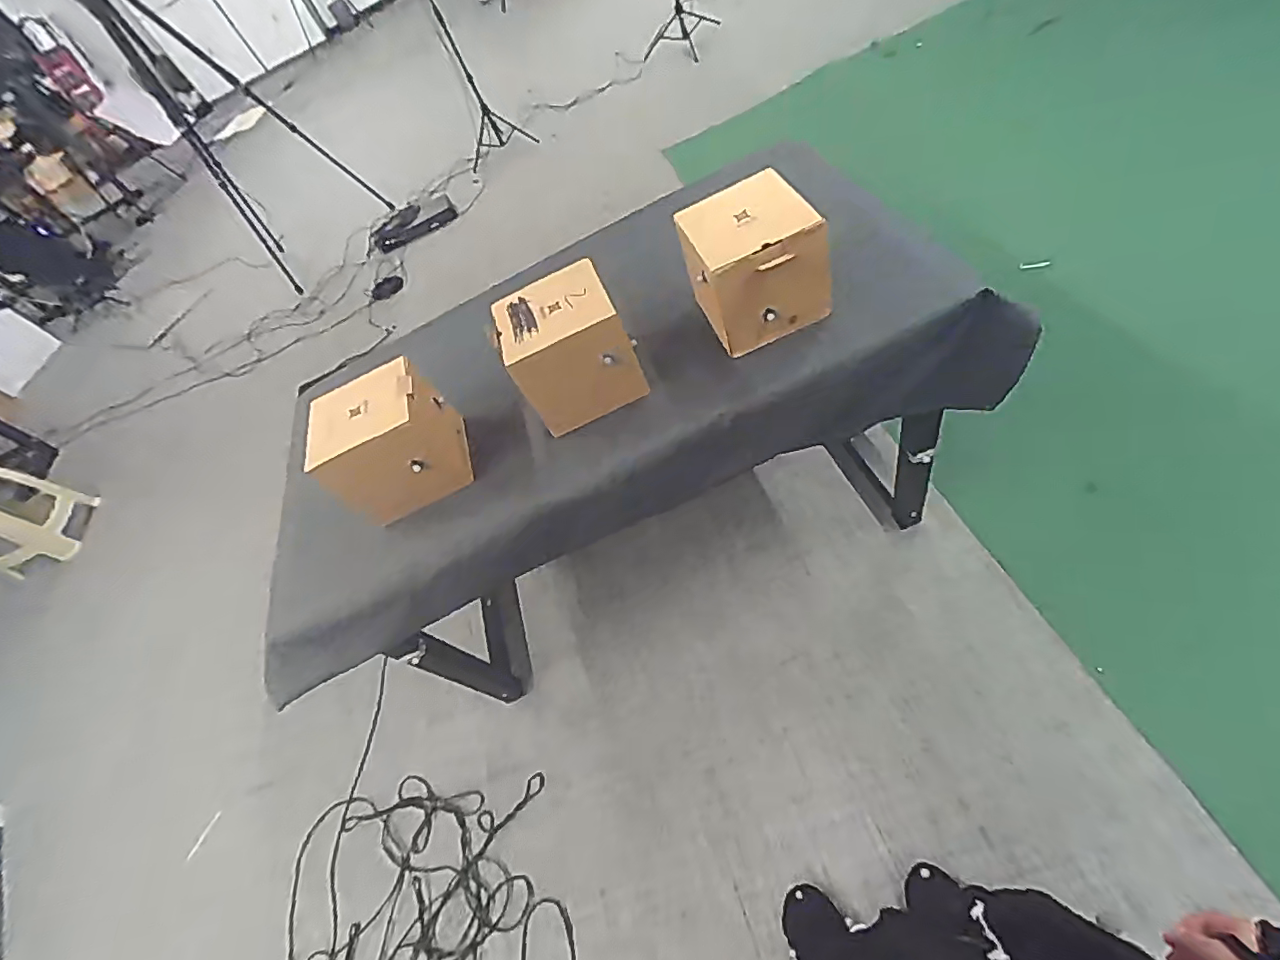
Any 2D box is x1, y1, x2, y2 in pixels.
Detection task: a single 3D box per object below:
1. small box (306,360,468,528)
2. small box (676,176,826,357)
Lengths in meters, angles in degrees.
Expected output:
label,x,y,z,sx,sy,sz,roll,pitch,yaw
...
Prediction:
label,x,y,z,sx,sy,sz,roll,pitch,yaw
small box,-0.397,-0.054,0.876,0.179,0.176,0.168,-27,50,3
small box,0.174,-0.327,0.842,0.168,0.176,0.179,-24,52,4
